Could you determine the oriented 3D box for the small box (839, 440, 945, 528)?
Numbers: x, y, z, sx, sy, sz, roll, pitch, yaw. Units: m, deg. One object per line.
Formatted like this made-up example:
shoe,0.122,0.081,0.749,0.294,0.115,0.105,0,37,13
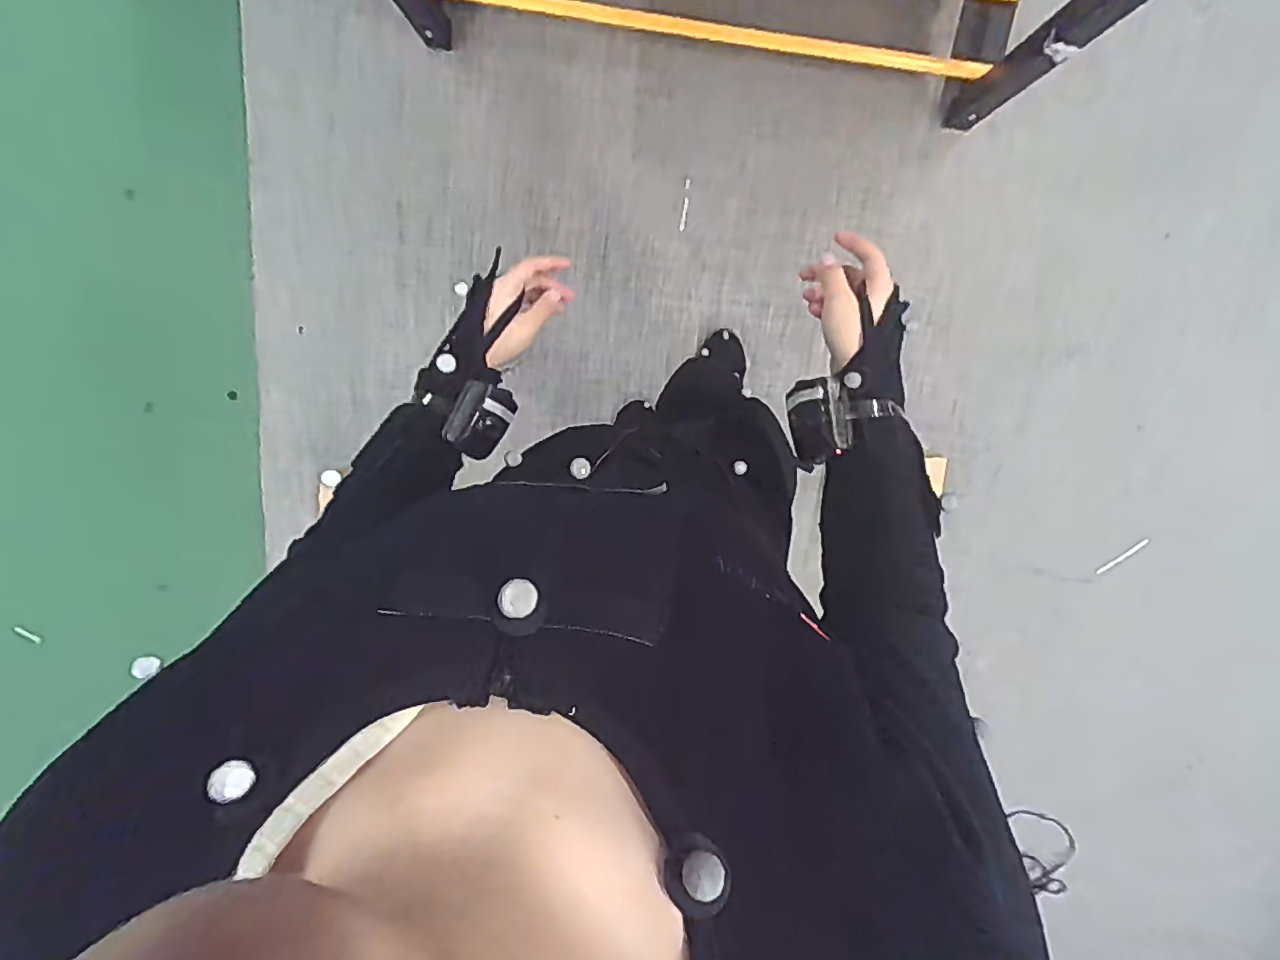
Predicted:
small box,0.581,0.003,1.270,0.168,0.176,0.179,2,103,1
